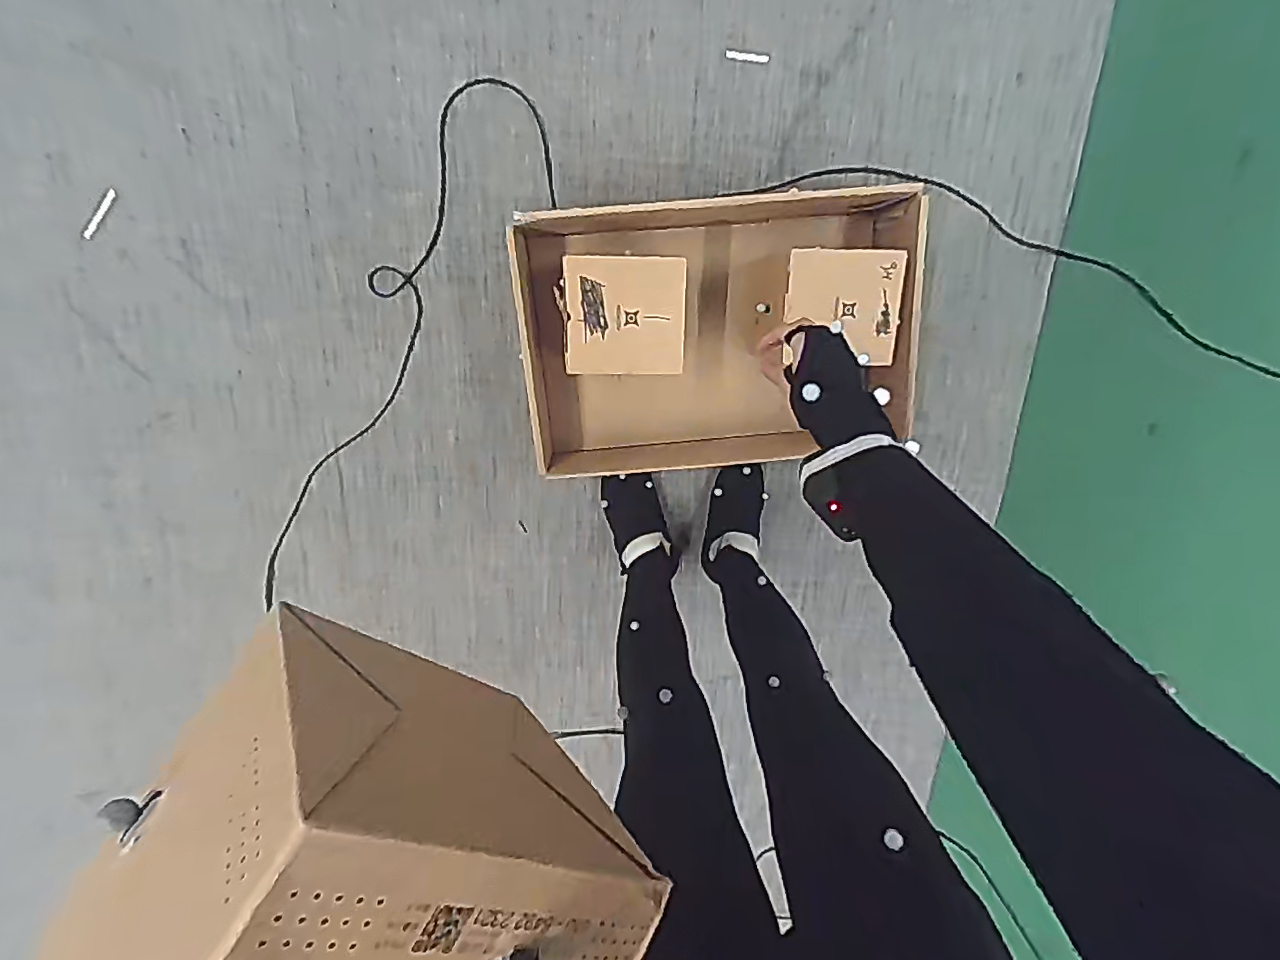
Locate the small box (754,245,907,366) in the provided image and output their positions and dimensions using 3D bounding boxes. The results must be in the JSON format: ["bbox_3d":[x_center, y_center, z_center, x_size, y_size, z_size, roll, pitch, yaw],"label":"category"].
[{"bbox_3d":[0.292,-0.276,0.872,0.179,0.176,0.168,1,107,-4],"label":"small box"}]
